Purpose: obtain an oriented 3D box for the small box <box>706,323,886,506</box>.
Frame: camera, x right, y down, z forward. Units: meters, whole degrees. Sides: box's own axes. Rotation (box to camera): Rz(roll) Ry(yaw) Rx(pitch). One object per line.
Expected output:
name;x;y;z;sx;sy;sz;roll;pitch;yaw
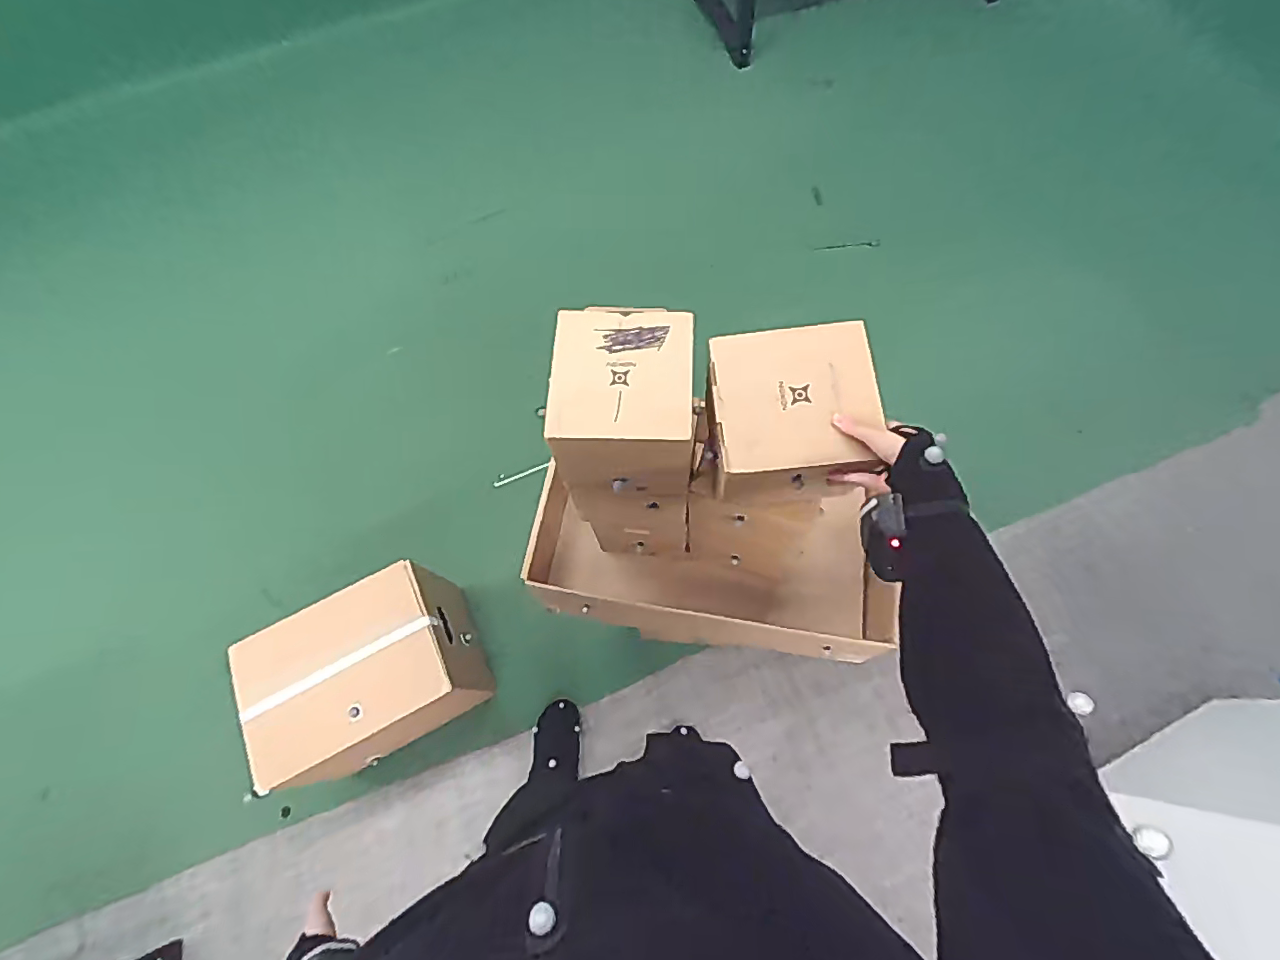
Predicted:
small box;0.176;-0.069;0.670;0.179;0.176;0.168;-5;73;4
